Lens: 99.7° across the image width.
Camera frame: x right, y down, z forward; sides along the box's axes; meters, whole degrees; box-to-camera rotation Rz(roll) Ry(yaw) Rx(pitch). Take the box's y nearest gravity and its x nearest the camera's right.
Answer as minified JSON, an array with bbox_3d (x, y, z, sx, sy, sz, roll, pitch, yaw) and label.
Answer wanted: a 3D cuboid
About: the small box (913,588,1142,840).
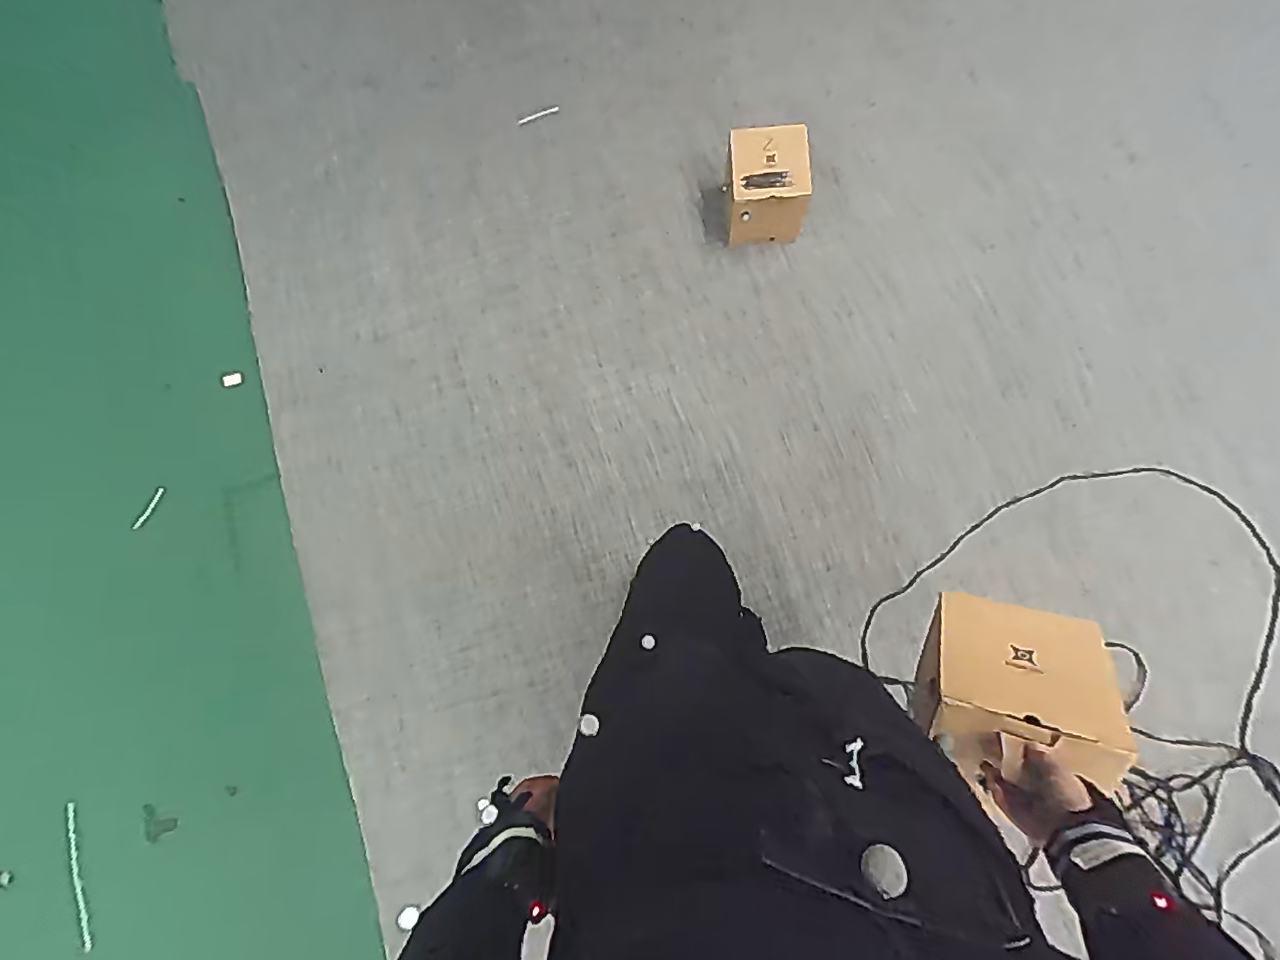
[{"bbox_3d":[0.422,0.261,0.624,0.168,0.179,0.176,10,125,24],"label":"small box"}]
